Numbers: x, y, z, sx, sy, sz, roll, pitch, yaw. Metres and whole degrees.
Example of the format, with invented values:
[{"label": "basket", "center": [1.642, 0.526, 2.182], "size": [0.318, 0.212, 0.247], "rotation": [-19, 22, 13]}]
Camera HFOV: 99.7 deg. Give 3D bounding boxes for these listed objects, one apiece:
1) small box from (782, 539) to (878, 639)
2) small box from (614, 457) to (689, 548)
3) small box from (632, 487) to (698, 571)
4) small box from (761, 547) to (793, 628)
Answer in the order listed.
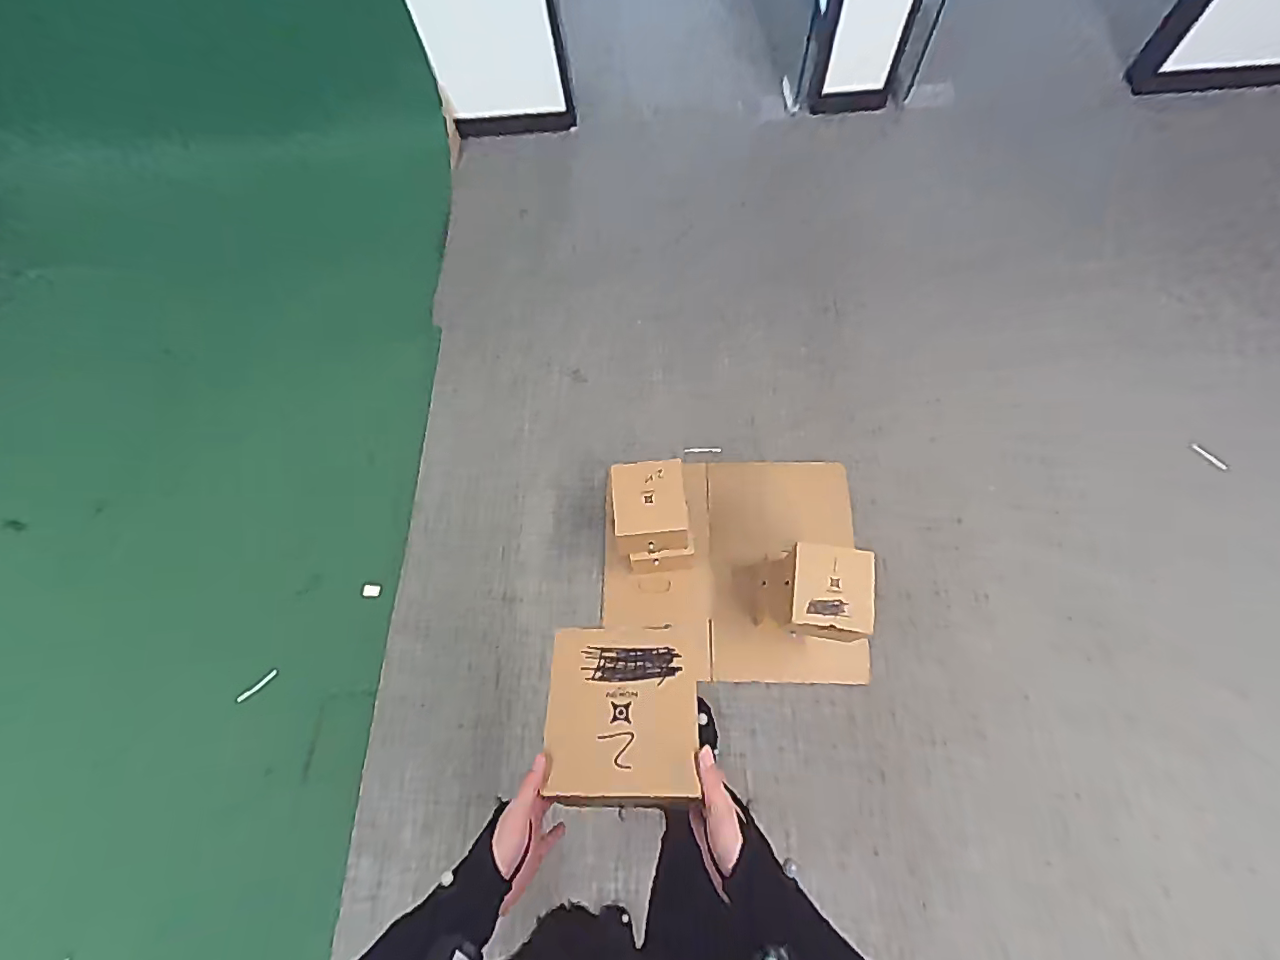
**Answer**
[{"label": "small box", "center": [0.413, 0.246, 1.193], "size": [0.168, 0.176, 0.179], "rotation": [8, 68, 7]}, {"label": "small box", "center": [0.030, 0.062, 1.296], "size": [0.168, 0.176, 0.179], "rotation": [-5, 68, 1]}, {"label": "small box", "center": [0.061, 0.135, 1.443], "size": [0.168, 0.176, 0.179], "rotation": [-6, 68, 2]}, {"label": "small box", "center": [0.398, 0.279, 1.358], "size": [0.168, 0.176, 0.179], "rotation": [4, 69, 7]}]
